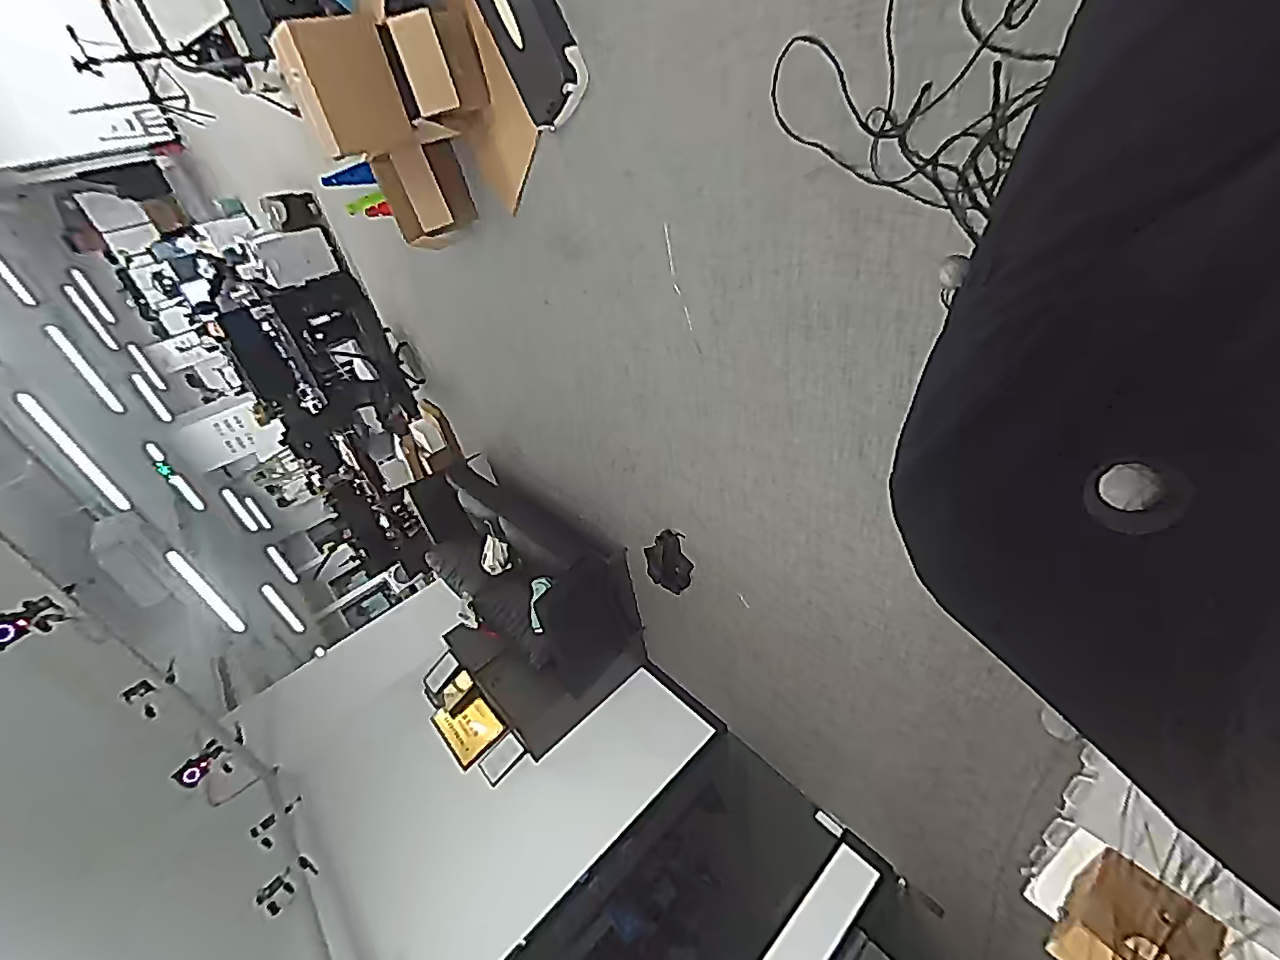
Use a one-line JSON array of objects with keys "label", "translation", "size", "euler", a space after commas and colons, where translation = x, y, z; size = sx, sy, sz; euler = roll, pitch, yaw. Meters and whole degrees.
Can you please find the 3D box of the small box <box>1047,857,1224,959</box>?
[{"label": "small box", "translation": [0.869, 0.821, 0.953], "size": [0.168, 0.176, 0.179], "euler": [30, 142, 40]}]
